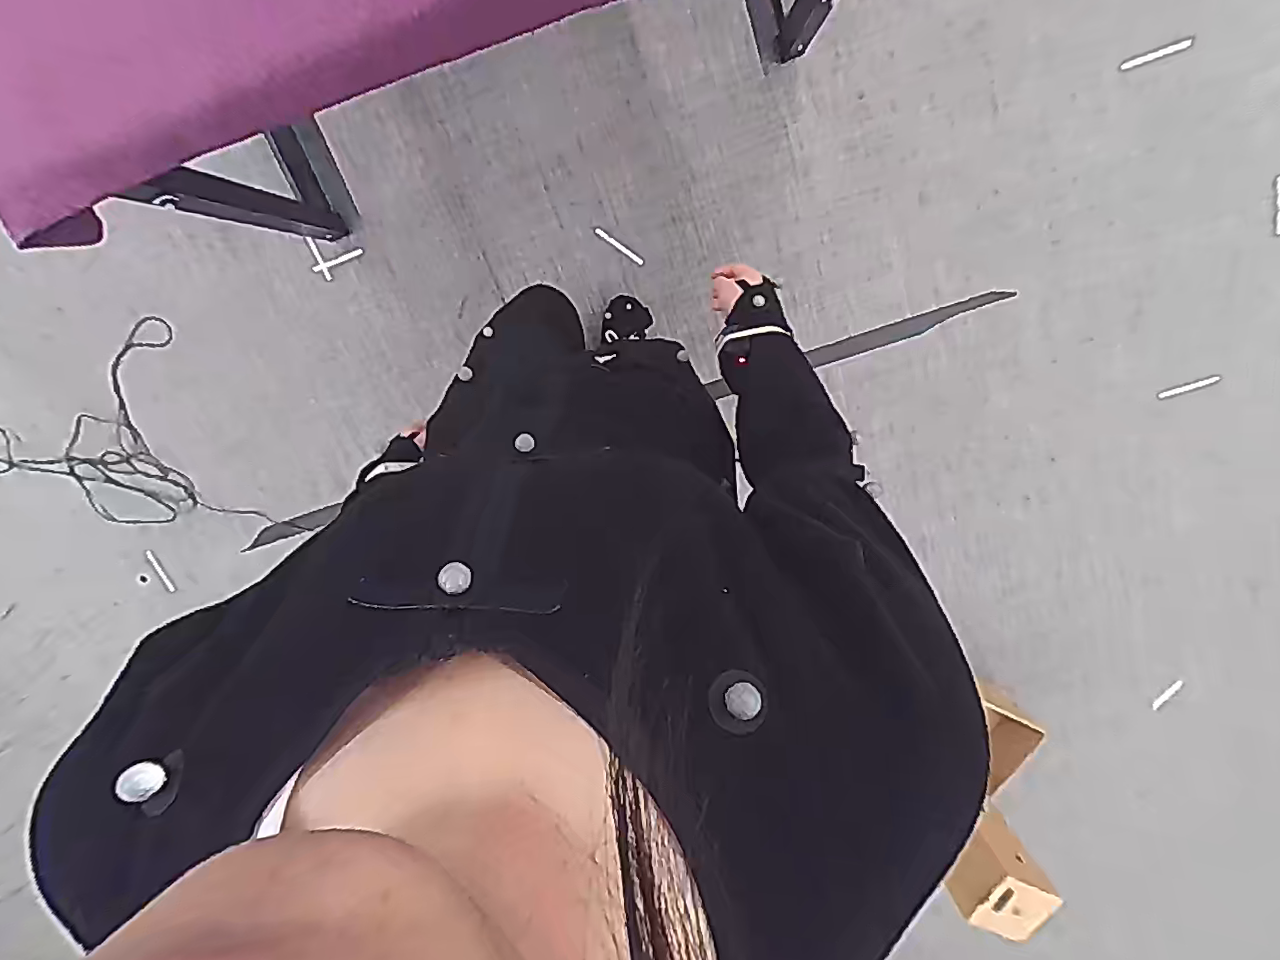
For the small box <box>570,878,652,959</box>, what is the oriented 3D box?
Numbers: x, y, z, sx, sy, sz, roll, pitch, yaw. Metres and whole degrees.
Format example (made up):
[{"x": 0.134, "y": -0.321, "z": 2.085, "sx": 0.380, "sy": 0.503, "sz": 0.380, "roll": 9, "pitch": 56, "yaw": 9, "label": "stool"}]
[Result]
[{"x": -0.083, "y": 1.261, "z": 1.503, "sx": 0.168, "sy": 0.176, "sz": 0.179, "roll": 31, "pitch": 105, "yaw": -9, "label": "small box"}]

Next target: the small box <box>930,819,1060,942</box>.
[{"x": 0.880, "y": 0.997, "z": 1.359, "sx": 0.179, "sy": 0.176, "sz": 0.168, "roll": 26, "pitch": 105, "yaw": -10, "label": "small box"}]
